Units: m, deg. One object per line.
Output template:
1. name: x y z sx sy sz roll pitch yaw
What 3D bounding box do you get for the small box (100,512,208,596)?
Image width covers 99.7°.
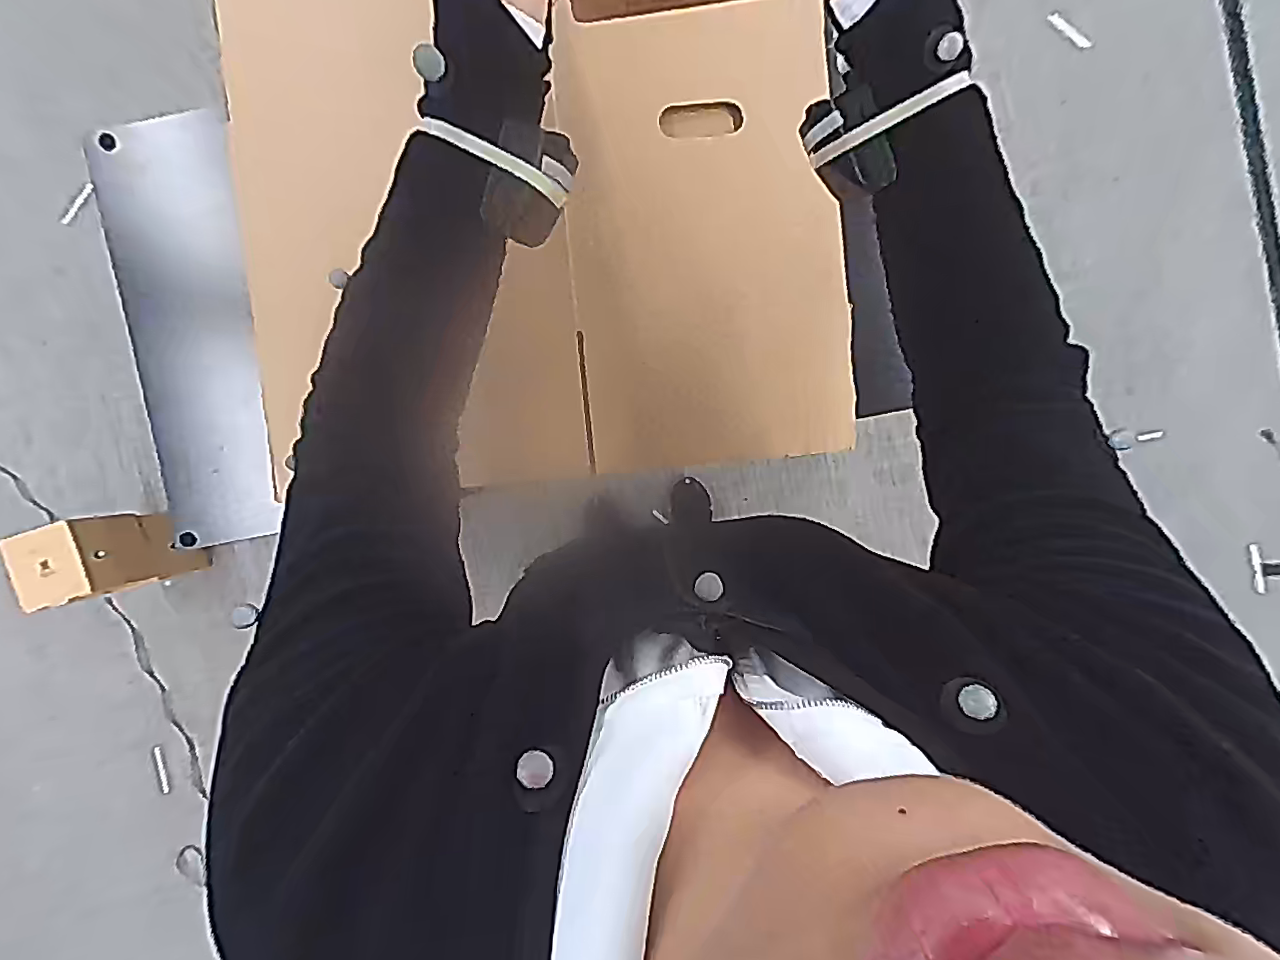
1. small box: -1.314 0.188 1.445 0.168 0.176 0.179 -15 93 2

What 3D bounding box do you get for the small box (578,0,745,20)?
1. small box: 0.020 -0.421 0.309 0.168 0.176 0.179 -8 103 2

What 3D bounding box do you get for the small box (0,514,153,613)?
1. small box: -1.320 0.190 1.282 0.168 0.176 0.179 -18 91 1
